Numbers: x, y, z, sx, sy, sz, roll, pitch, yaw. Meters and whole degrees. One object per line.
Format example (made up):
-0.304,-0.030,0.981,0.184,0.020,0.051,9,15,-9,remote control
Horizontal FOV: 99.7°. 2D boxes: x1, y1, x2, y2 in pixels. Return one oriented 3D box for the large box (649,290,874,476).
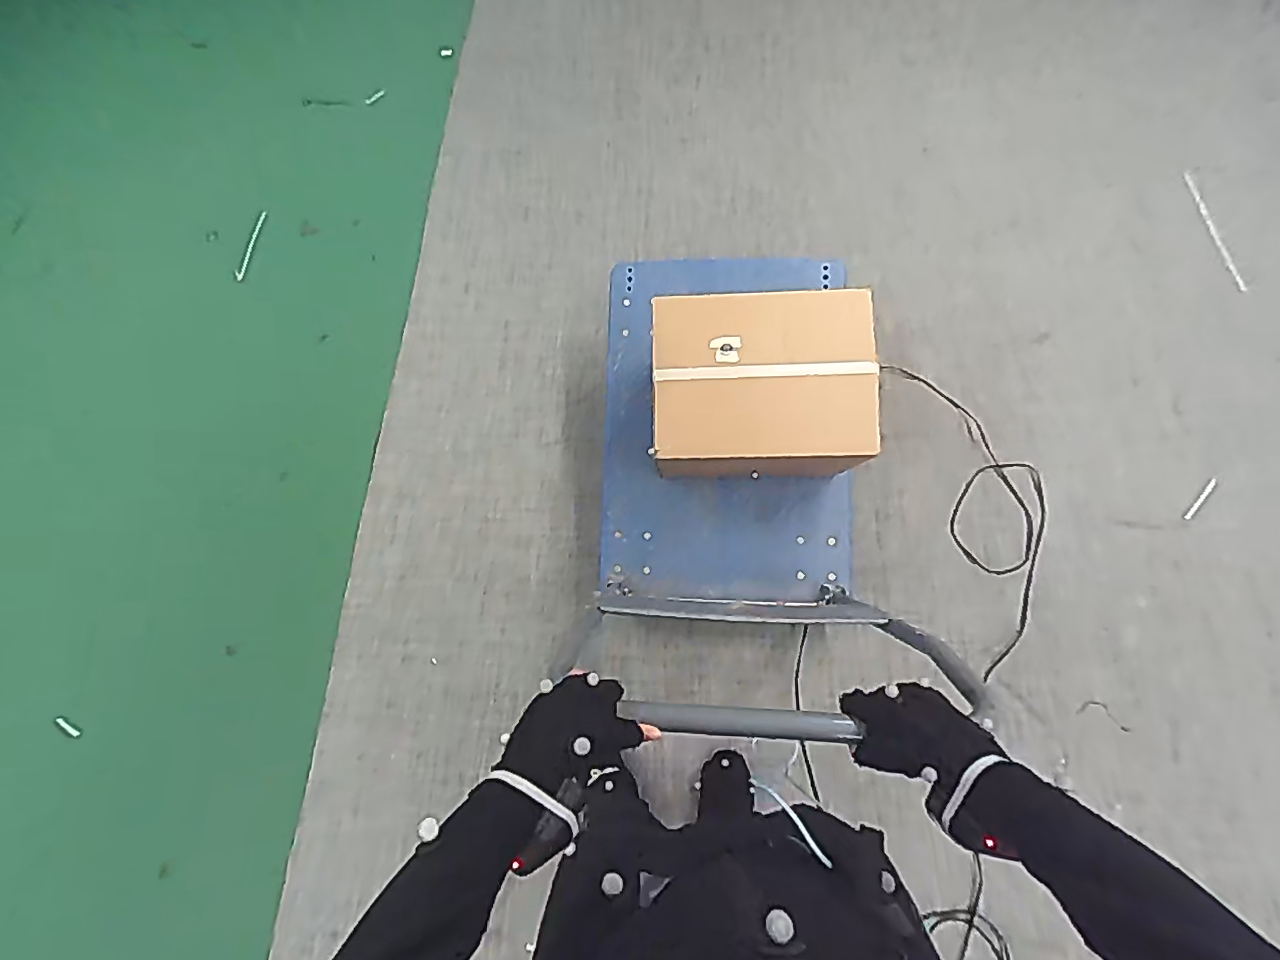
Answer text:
0.237,-0.180,1.155,0.408,0.320,0.320,-2,84,6,large box
